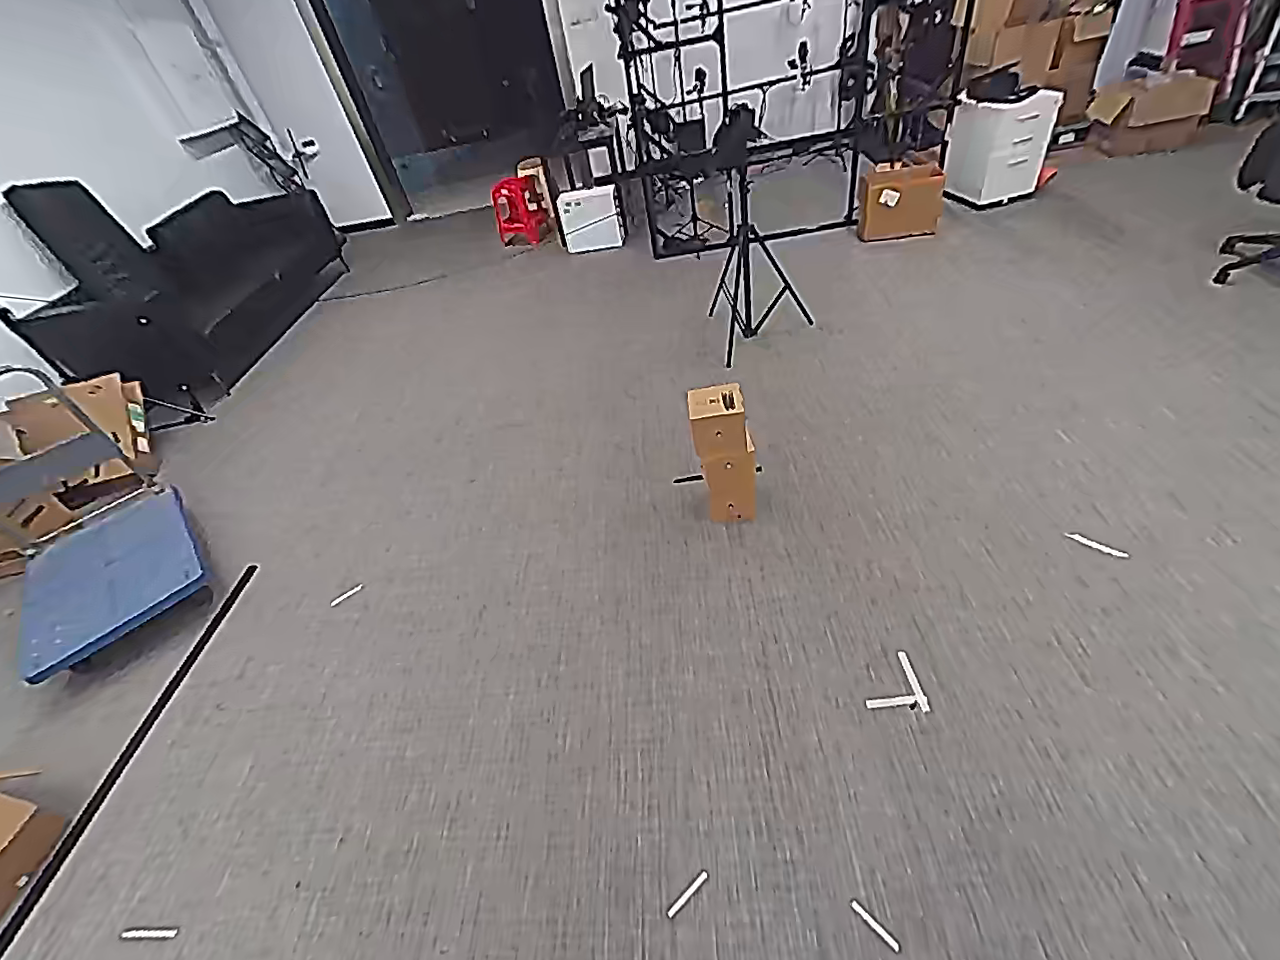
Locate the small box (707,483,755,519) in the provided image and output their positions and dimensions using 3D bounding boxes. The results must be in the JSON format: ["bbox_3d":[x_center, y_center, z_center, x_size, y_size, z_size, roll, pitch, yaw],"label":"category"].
[{"bbox_3d":[0.341,0.034,2.038,0.168,0.176,0.179,-5,42,8],"label":"small box"}]

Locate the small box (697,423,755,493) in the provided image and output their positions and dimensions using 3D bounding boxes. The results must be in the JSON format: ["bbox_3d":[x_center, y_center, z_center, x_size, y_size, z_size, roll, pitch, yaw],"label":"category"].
[{"bbox_3d":[0.307,-0.076,1.923,0.179,0.176,0.168,-12,42,3],"label":"small box"}]
